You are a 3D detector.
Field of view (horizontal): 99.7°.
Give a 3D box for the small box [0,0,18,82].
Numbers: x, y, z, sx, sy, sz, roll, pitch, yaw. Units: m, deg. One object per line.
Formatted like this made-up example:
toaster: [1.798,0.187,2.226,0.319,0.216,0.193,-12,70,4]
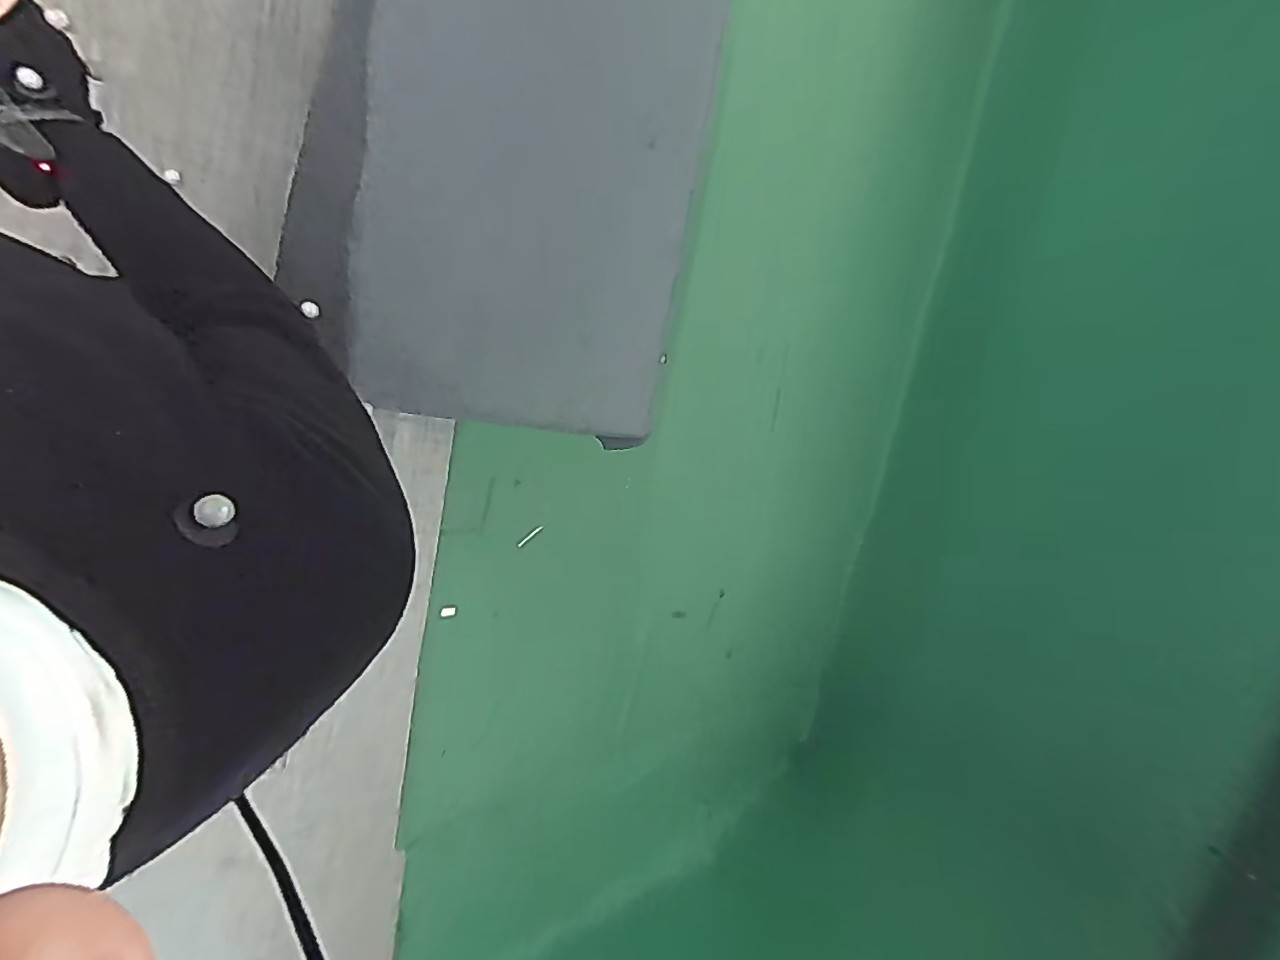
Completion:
small box: [-0.608,-0.443,0.396,0.168,0.176,0.179,-7,105,-38]
